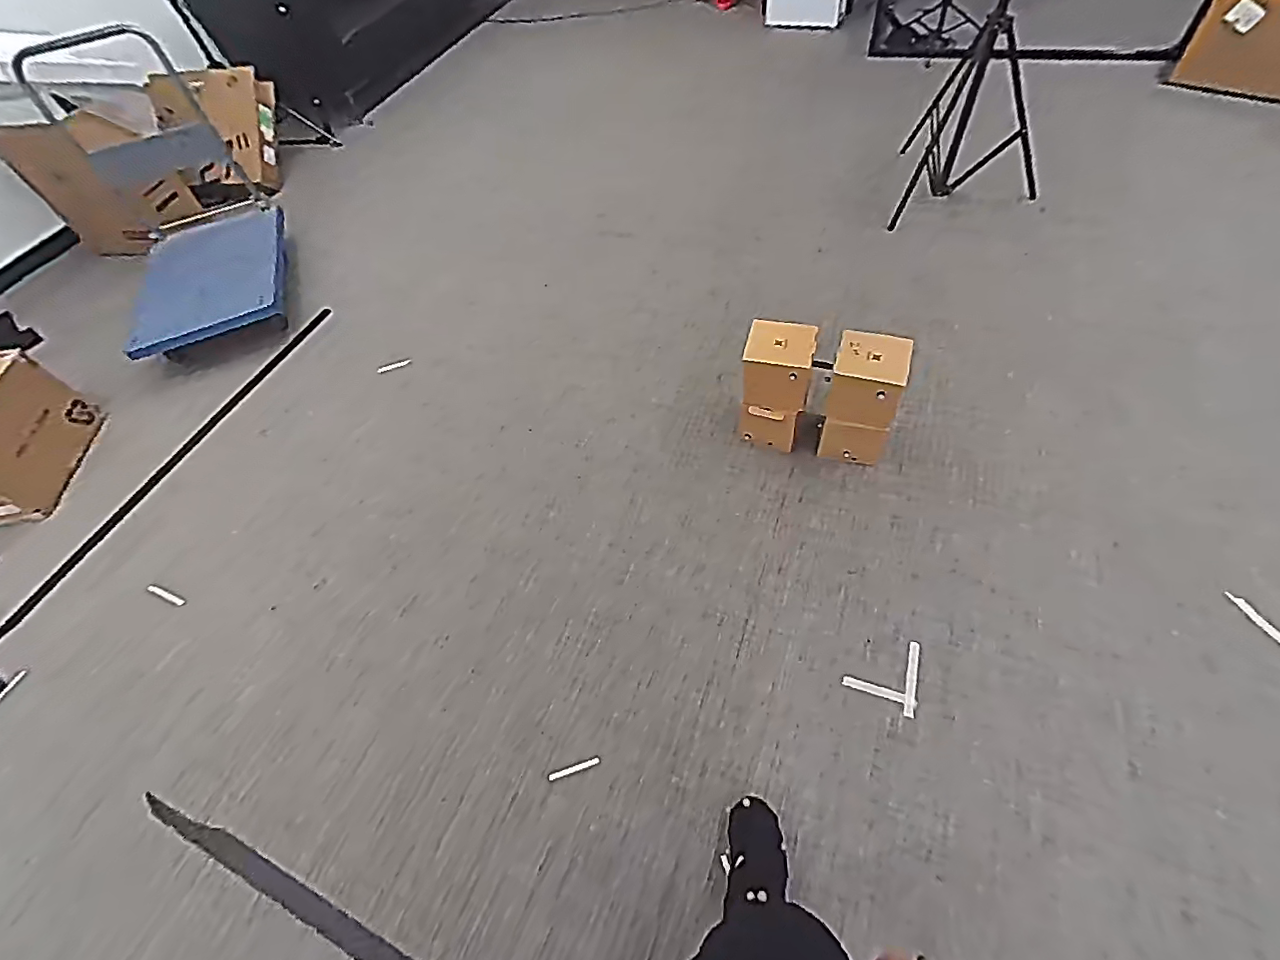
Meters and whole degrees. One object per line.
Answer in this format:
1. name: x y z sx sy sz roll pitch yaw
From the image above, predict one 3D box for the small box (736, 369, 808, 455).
1. small box: 0.396 -0.202 1.627 0.168 0.176 0.179 17 59 19
